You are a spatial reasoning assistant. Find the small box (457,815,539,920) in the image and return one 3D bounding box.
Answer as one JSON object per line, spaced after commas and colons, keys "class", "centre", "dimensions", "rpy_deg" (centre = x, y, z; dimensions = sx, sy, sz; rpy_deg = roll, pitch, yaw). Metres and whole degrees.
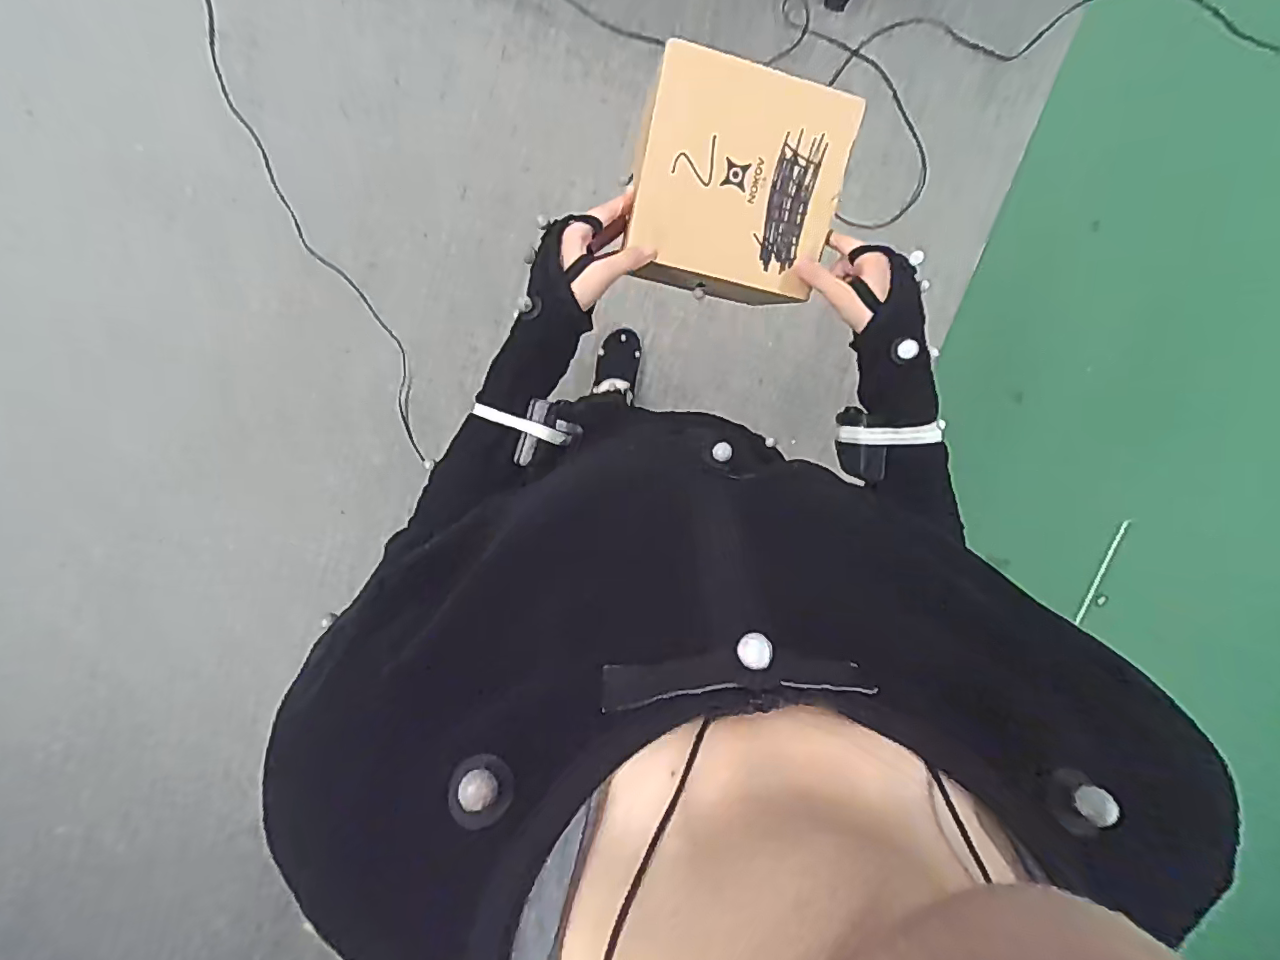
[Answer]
{"class": "small box", "centre": [-0.402, 1.107, 1.556], "dimensions": [0.179, 0.176, 0.168], "rpy_deg": [17, 97, -8]}
